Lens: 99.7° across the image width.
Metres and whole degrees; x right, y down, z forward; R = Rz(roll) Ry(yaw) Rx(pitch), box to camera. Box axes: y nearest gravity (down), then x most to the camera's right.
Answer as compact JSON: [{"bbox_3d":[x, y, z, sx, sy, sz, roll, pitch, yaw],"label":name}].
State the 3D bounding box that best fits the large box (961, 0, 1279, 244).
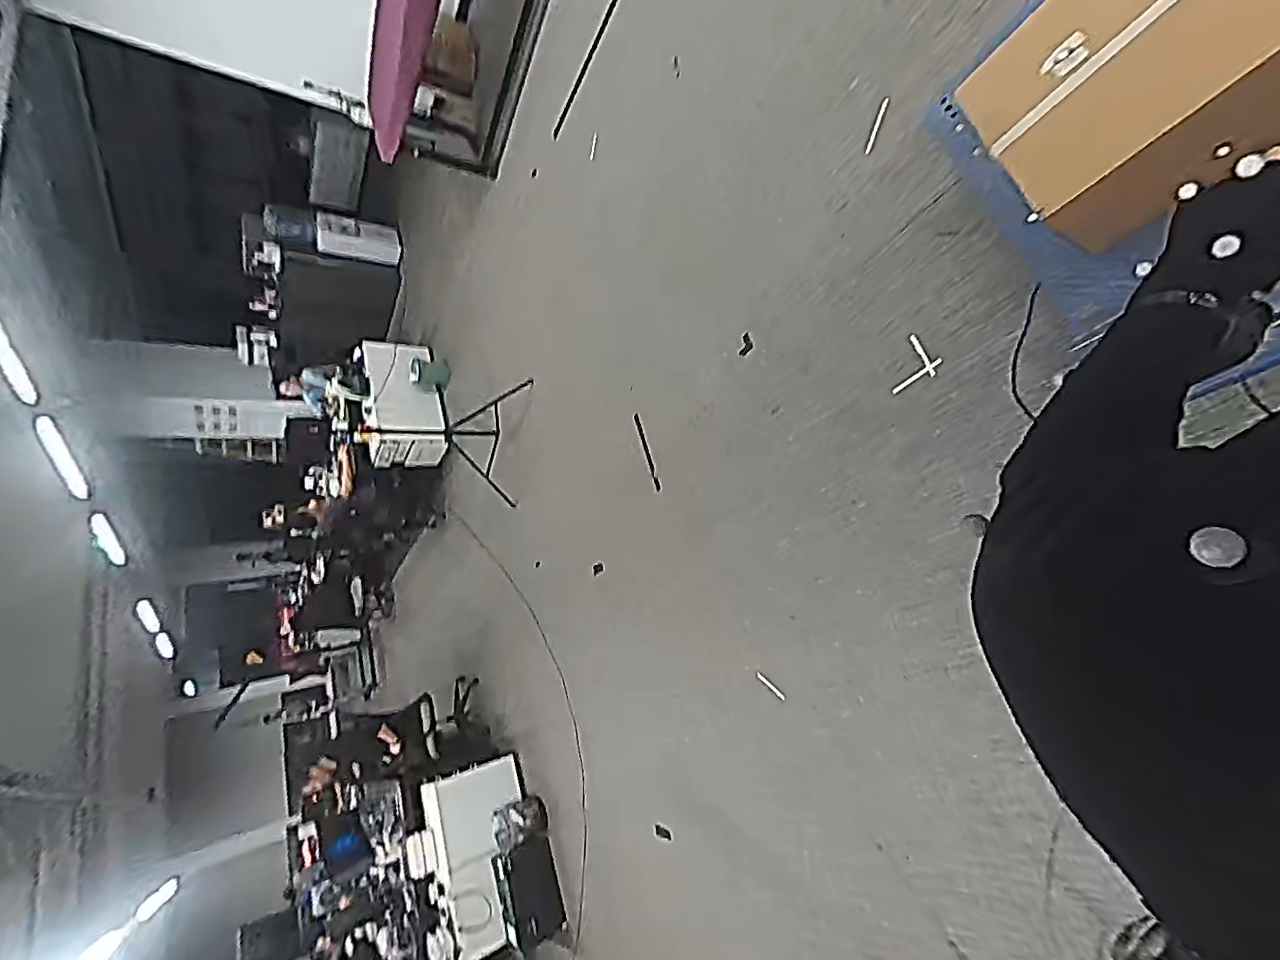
[{"bbox_3d":[0.833,-0.659,0.851,0.408,0.320,0.320,-40,61,49],"label":"large box"}]
